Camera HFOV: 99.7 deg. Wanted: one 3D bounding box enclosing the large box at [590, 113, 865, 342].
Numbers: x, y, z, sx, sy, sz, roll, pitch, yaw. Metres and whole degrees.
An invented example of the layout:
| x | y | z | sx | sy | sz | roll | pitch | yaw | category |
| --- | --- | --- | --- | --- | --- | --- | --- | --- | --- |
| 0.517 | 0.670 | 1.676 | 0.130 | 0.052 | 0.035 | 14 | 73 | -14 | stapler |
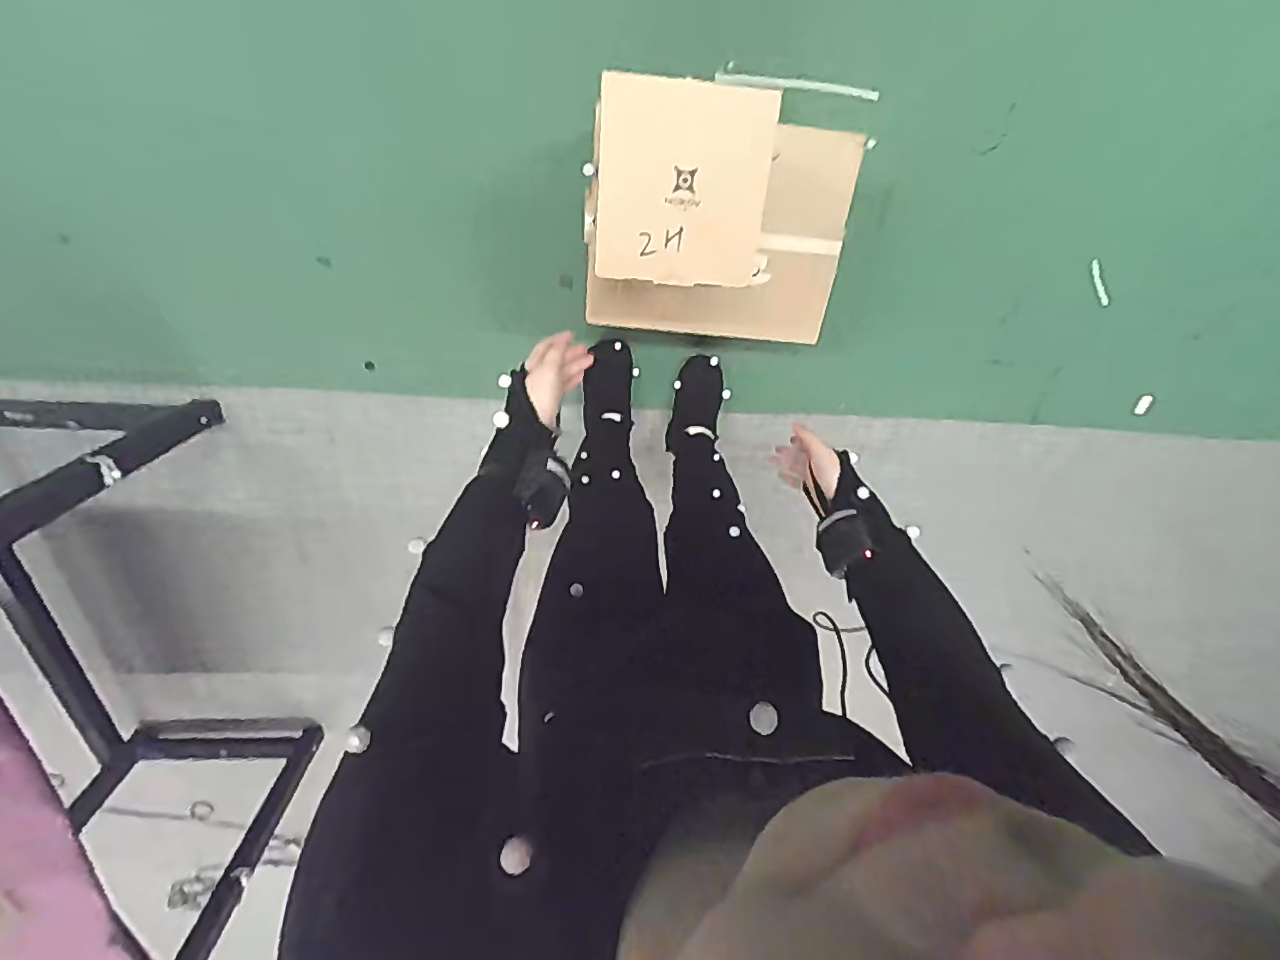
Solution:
| x | y | z | sx | sy | sz | roll | pitch | yaw | category |
| --- | --- | --- | --- | --- | --- | --- | --- | --- | --- |
| 0.116 | -0.448 | 0.979 | 0.408 | 0.320 | 0.320 | 3 | 118 | -5 | large box |

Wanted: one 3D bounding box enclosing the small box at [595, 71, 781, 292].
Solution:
| x | y | z | sx | sy | sz | roll | pitch | yaw | category |
| --- | --- | --- | --- | --- | --- | --- | --- | --- | --- |
| 0.036 | -0.312 | 0.587 | 0.168 | 0.176 | 0.179 | 3 | 117 | -4 | small box |
